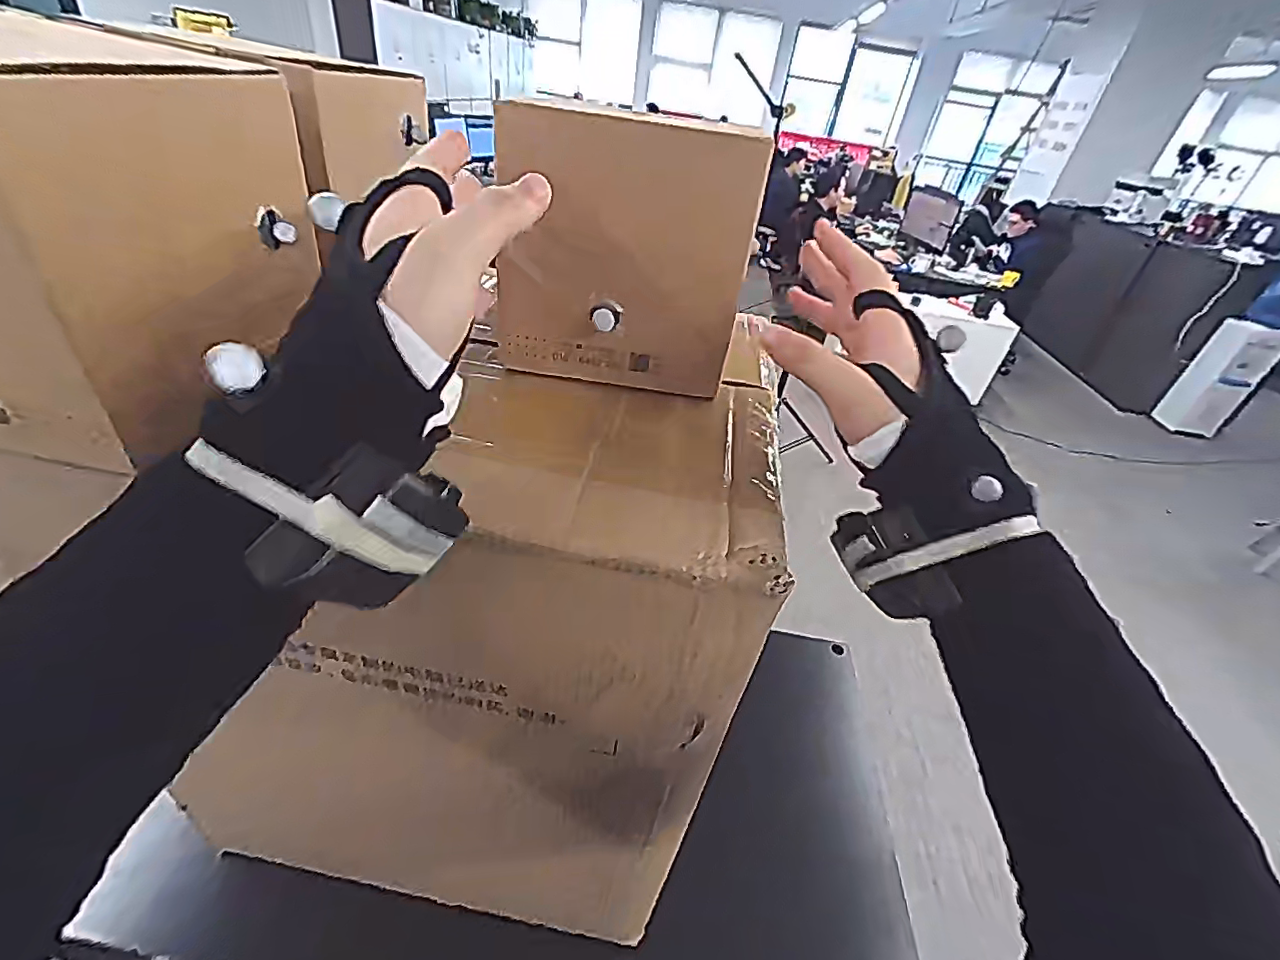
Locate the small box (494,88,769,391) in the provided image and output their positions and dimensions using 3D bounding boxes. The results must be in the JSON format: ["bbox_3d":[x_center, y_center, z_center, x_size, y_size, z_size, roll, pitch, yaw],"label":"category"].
[{"bbox_3d":[-0.008,-0.189,0.424,0.168,0.176,0.179,8,35,0],"label":"small box"}]

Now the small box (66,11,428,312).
[{"bbox_3d":[-0.292,-0.259,0.457,0.168,0.176,0.179,10,34,0],"label":"small box"}]
